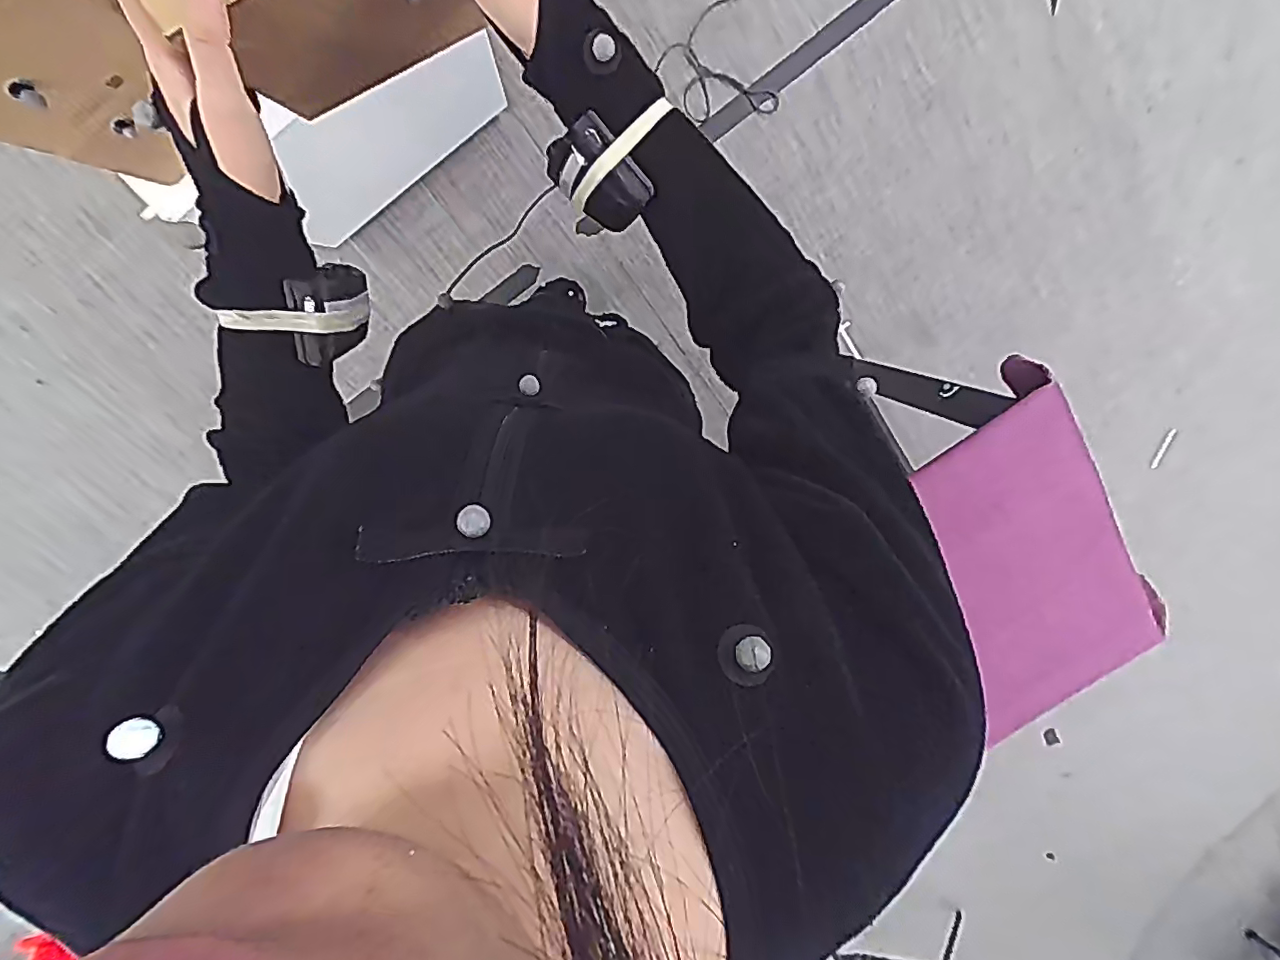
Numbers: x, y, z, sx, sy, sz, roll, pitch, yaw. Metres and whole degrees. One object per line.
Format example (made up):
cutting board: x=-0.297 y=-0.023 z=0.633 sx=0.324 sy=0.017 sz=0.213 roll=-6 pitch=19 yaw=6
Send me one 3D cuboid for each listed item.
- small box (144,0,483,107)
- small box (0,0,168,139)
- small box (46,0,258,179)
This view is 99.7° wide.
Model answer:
small box: x=-0.206 y=-0.360 z=0.315 sx=0.179 sy=0.176 sz=0.168 roll=-25 pitch=112 yaw=4
small box: x=-0.556 y=-0.411 z=0.435 sx=0.168 sy=0.176 sz=0.179 roll=-37 pitch=110 yaw=6
small box: x=-0.579 y=-0.467 z=0.587 sx=0.168 sy=0.176 sz=0.179 roll=-36 pitch=109 yaw=5
